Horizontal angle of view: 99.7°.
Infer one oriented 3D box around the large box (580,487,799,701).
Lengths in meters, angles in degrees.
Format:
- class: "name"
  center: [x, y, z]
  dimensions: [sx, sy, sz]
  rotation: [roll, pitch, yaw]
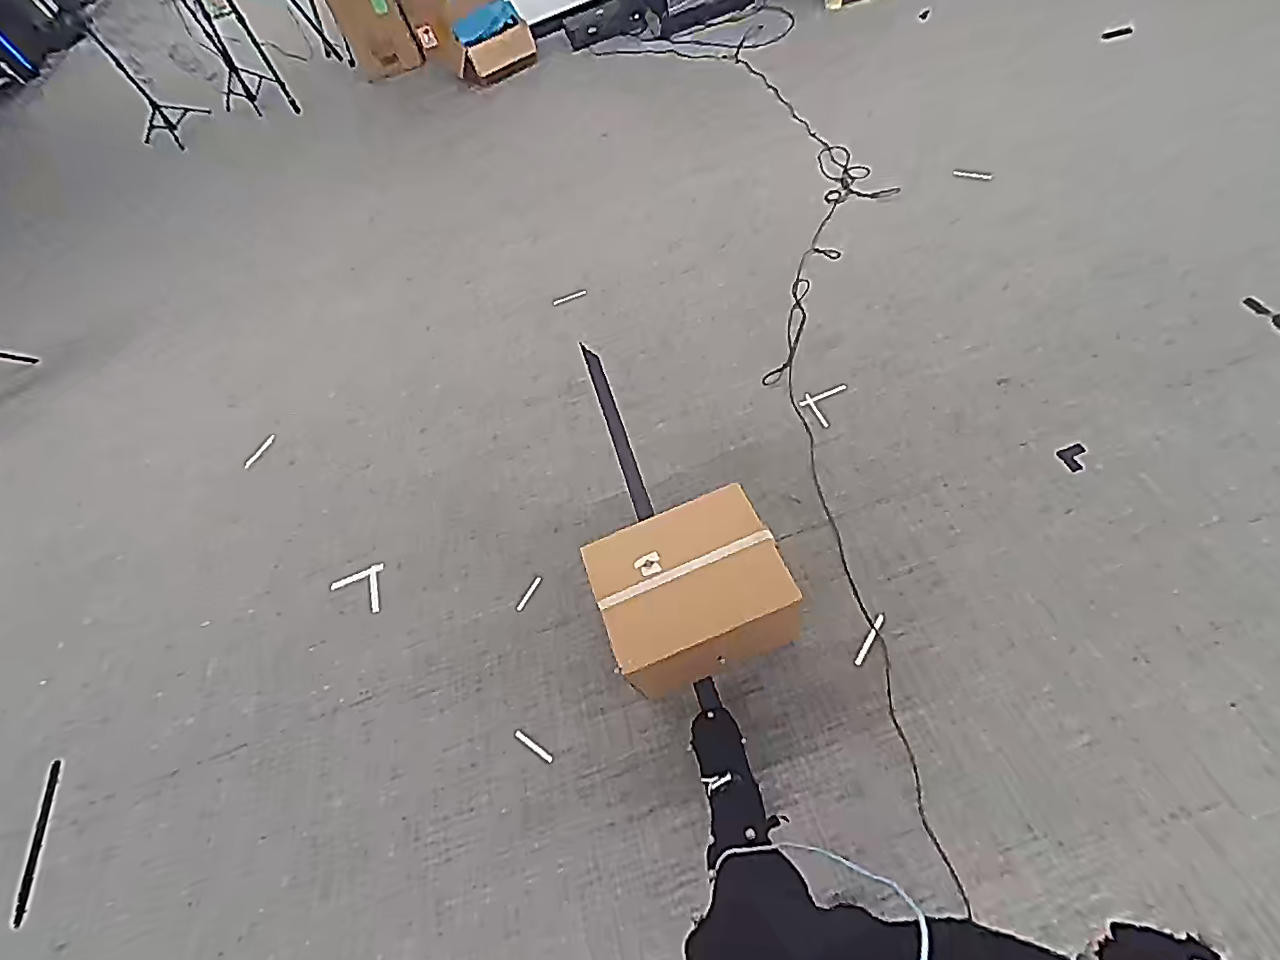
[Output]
- class: "large box"
  center: [0.125, 0.284, 1.297]
  dimensions: [0.408, 0.320, 0.320]
  rotation: [-24, 56, 0]
